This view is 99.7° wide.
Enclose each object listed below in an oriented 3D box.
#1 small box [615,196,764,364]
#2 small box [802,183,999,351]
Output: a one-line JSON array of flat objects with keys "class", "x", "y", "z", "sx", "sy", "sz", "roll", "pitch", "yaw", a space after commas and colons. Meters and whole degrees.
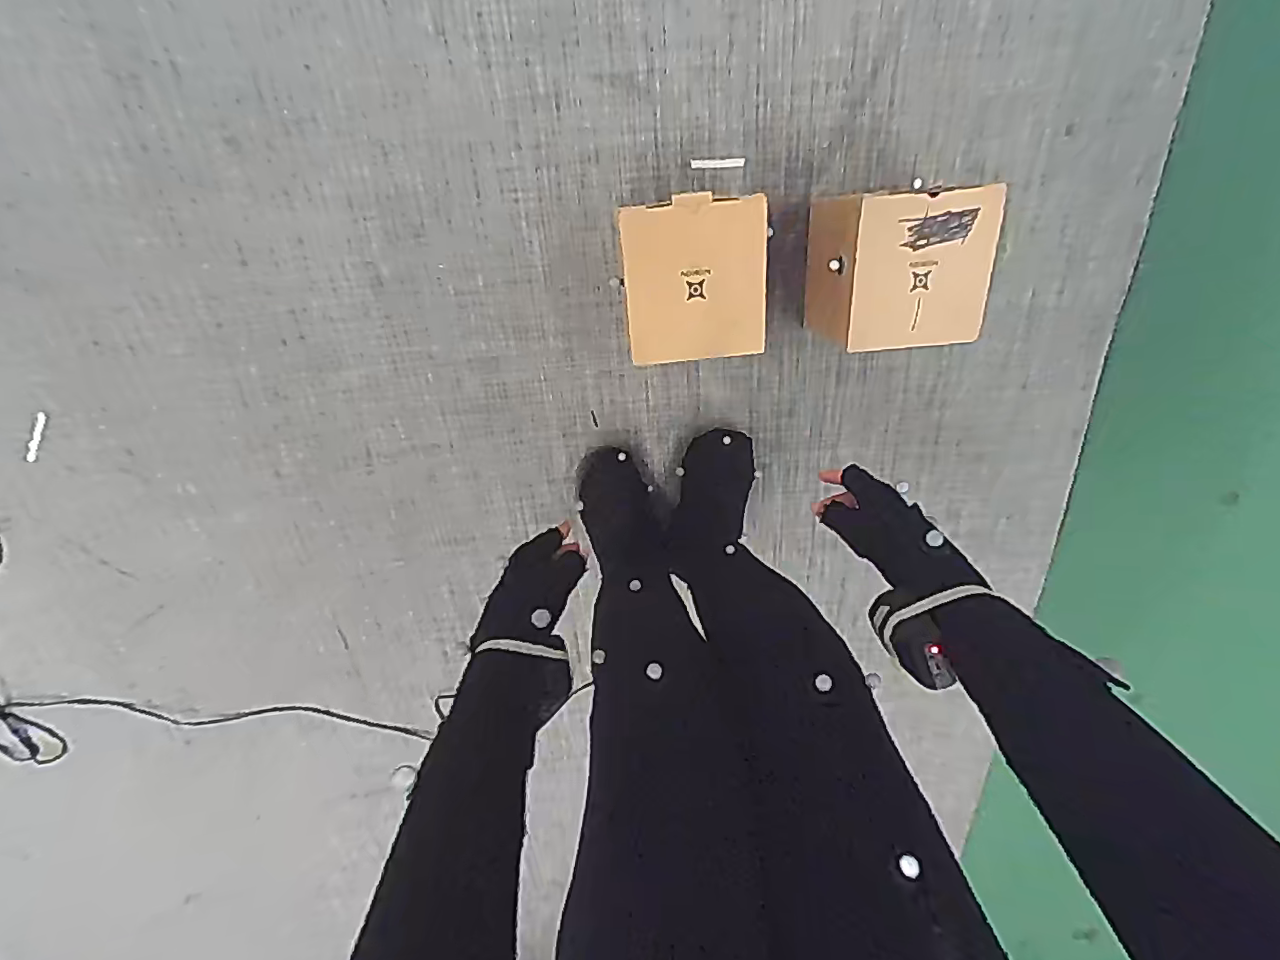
[{"class": "small box", "x": 0.057, "y": -0.261, "z": 0.699, "sx": 0.168, "sy": 0.176, "sz": 0.179, "roll": -6, "pitch": 115, "yaw": -1}, {"class": "small box", "x": 0.320, "y": -0.278, "z": 0.707, "sx": 0.168, "sy": 0.176, "sz": 0.179, "roll": -6, "pitch": 116, "yaw": -1}]
